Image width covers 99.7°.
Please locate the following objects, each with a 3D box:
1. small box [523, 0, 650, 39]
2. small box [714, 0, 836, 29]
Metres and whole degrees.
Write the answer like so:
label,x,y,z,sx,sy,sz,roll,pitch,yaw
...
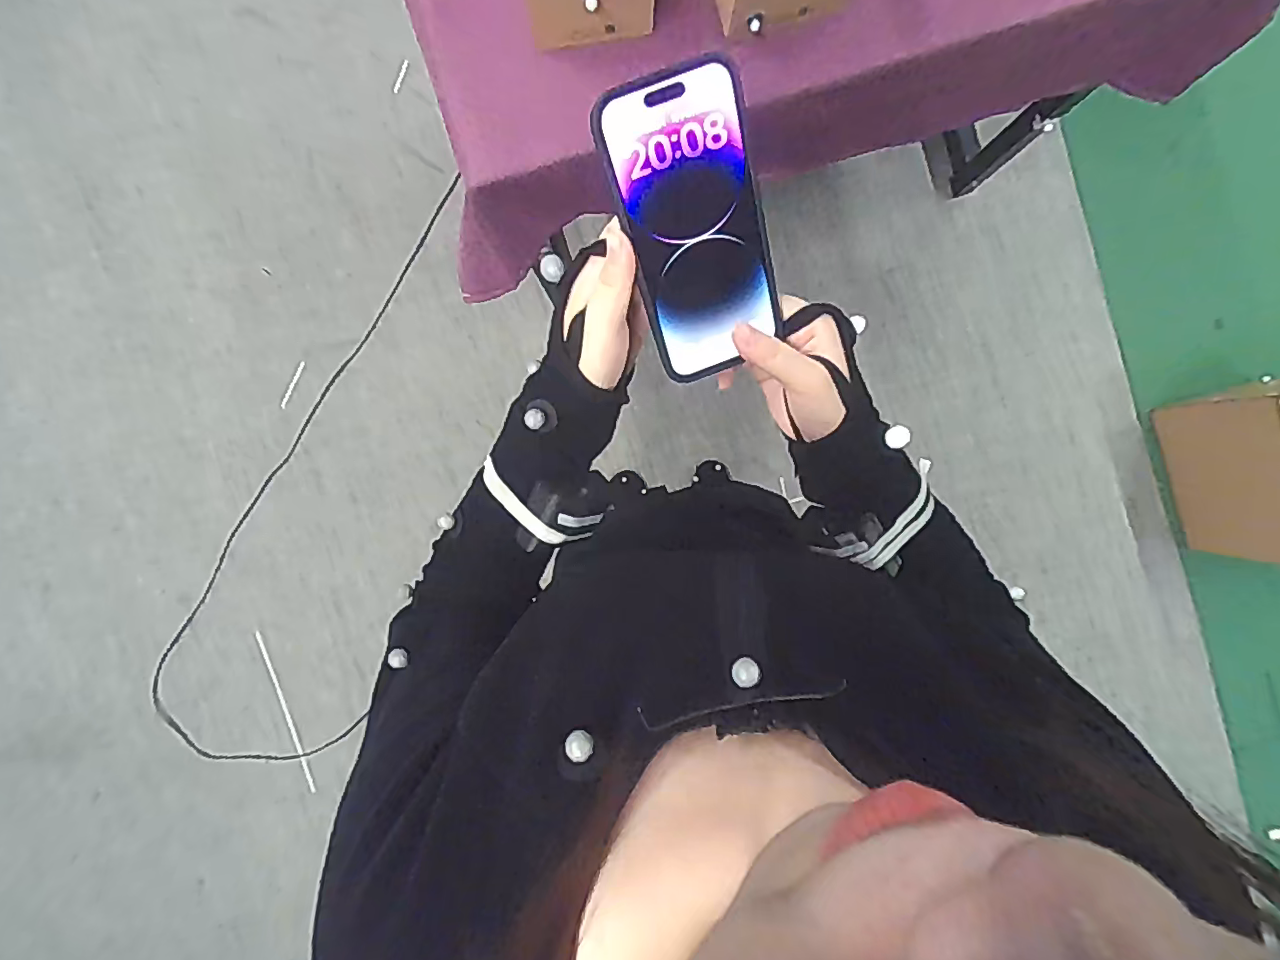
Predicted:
label,x,y,z,sx,sy,sz,roll,pitch,yaw
small box,-0.078,-0.688,0.664,0.168,0.176,0.179,-9,92,0
small box,0.171,-0.706,0.662,0.168,0.176,0.179,-16,91,0
